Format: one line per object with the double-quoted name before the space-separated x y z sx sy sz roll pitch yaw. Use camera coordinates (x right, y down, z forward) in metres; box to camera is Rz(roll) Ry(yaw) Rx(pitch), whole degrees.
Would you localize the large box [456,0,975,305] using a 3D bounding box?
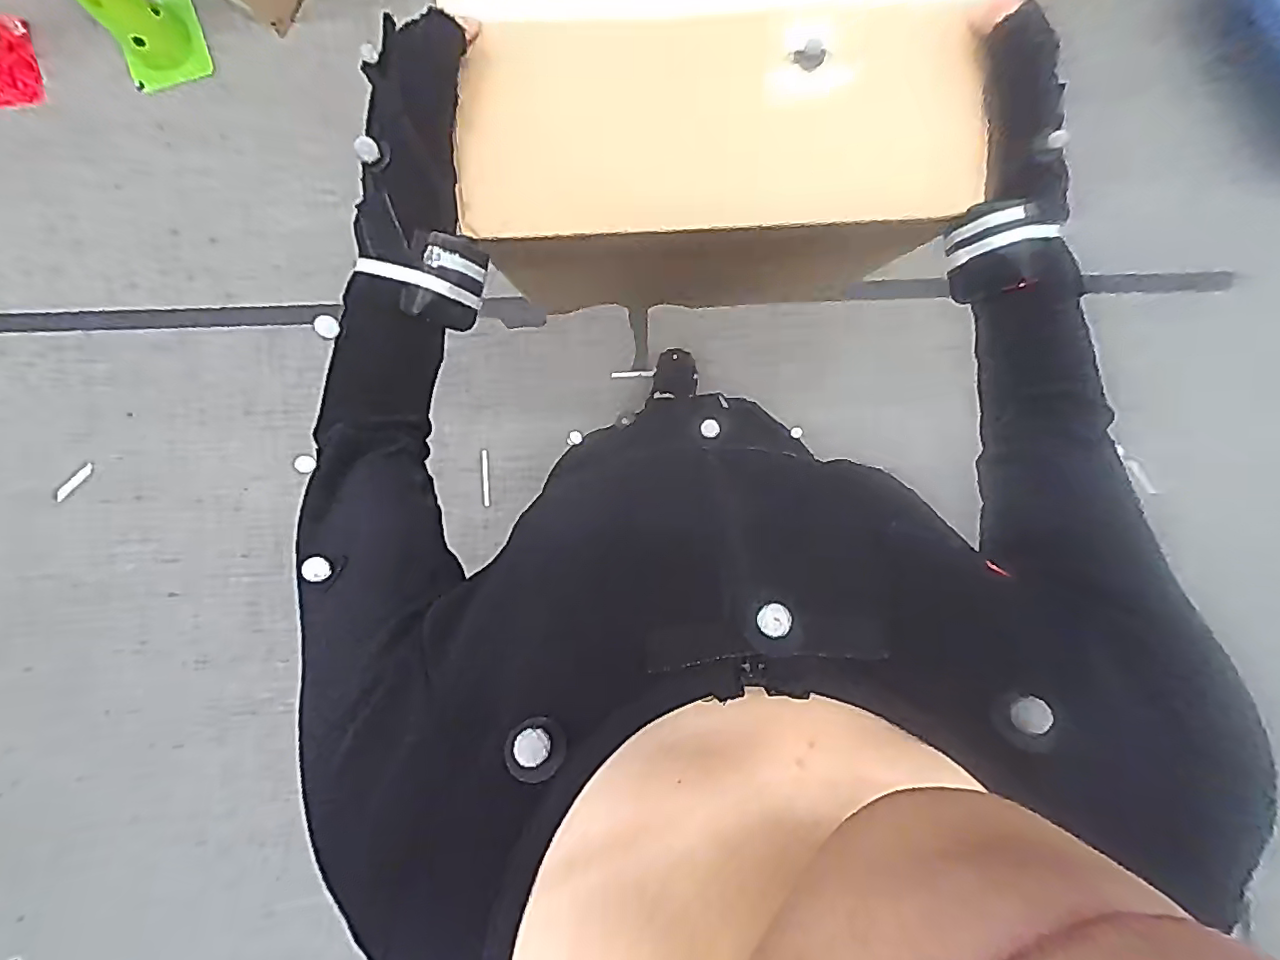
"large box" 0.053 -0.379 0.558 0.408 0.320 0.320 -3 98 -1
